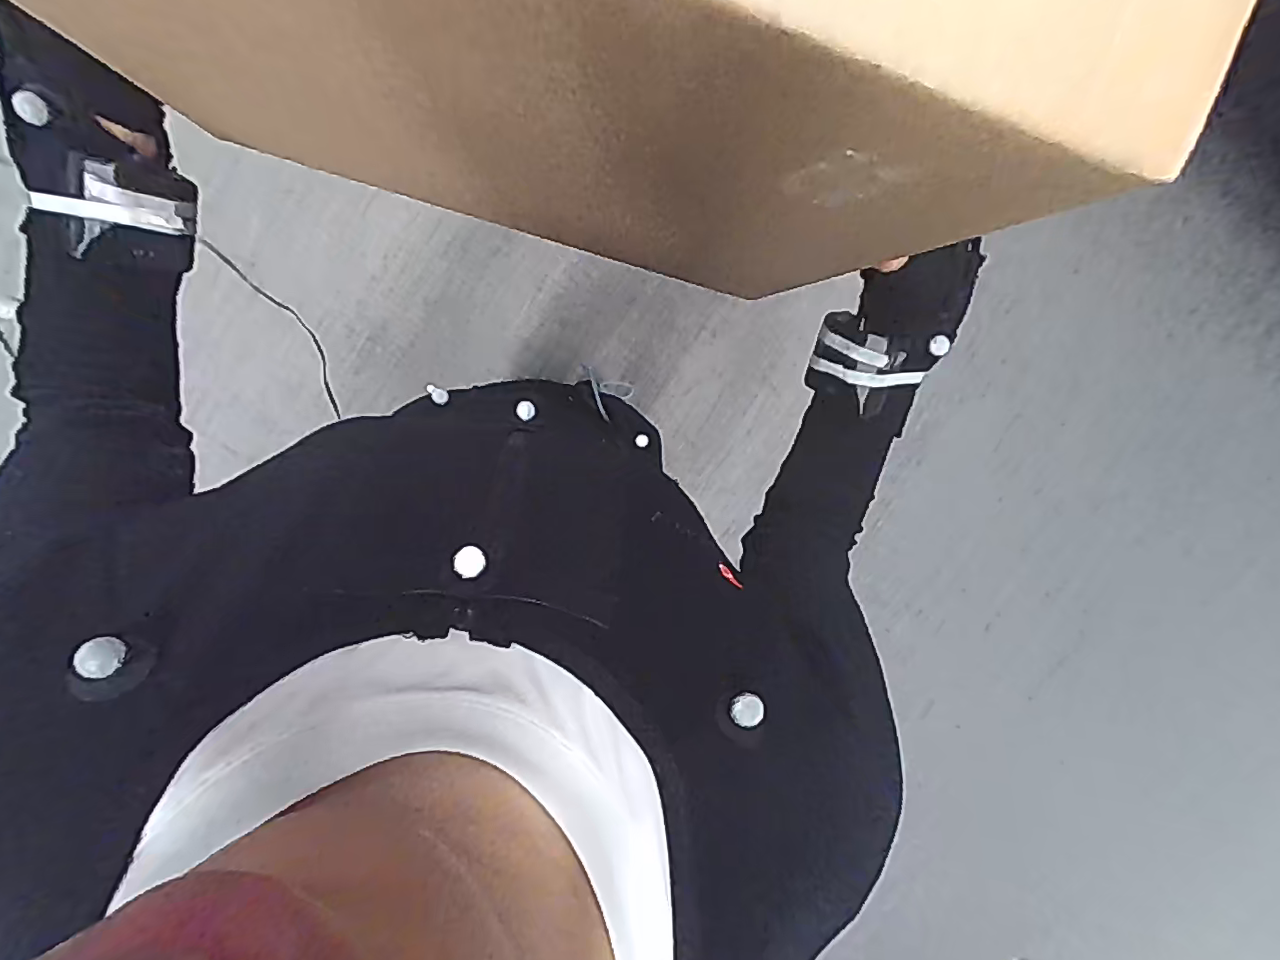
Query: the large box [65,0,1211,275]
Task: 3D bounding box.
[{"bbox_3d":[-0.029,-0.314,0.235,0.408,0.320,0.320,11,101,-13],"label":"large box"}]
